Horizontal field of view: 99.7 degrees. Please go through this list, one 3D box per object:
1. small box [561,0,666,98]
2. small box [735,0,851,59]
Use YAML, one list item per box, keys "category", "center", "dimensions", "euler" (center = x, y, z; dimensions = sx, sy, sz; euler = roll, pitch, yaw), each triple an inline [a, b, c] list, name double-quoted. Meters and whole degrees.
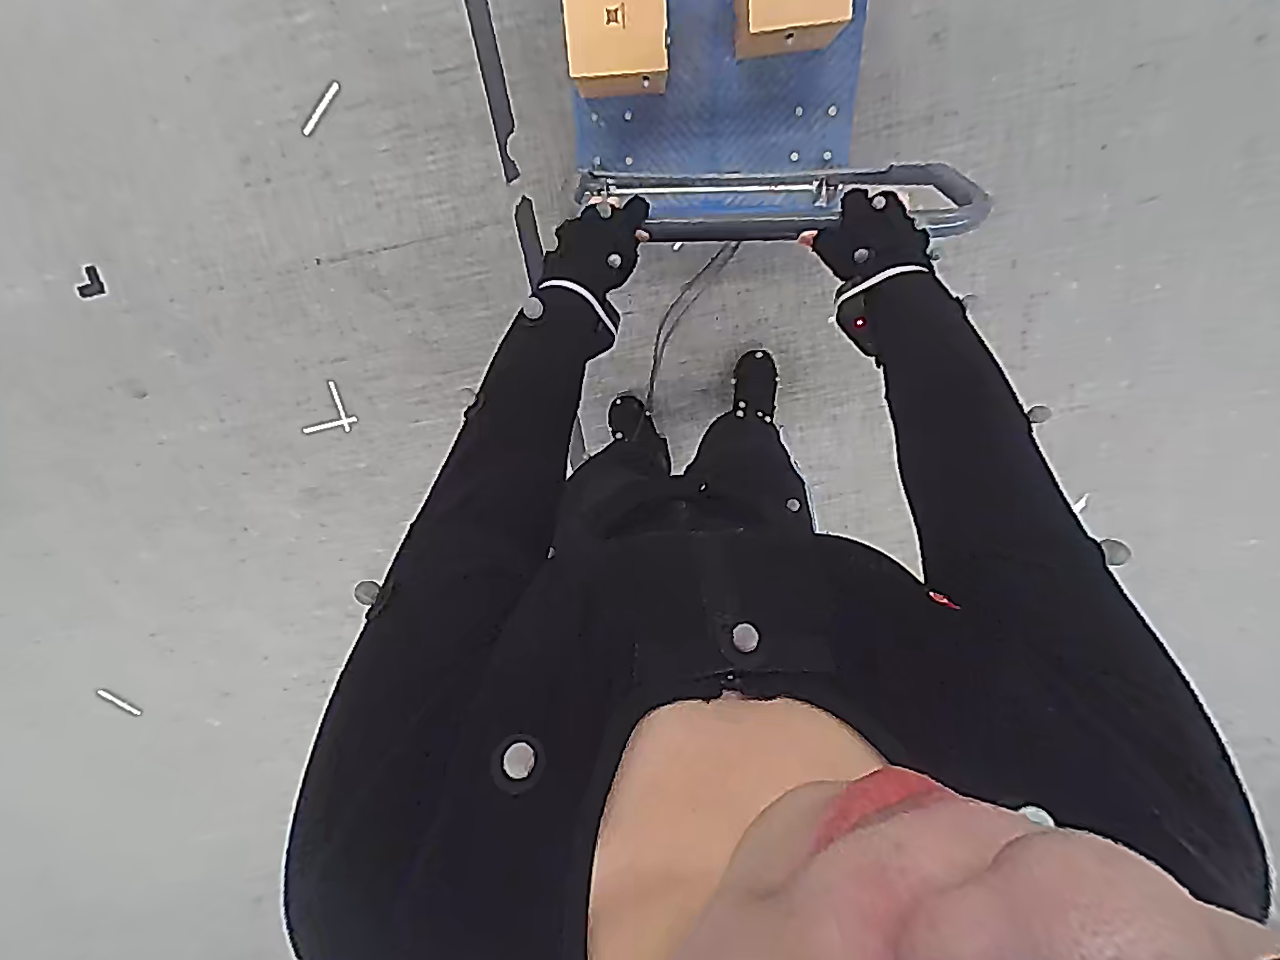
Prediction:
- category: "small box"
  center: [-0.043, -0.818, 0.989]
  dimensions: [0.179, 0.176, 0.168]
  euler: [-3, 115, 1]
- category: "small box"
  center: [0.264, -0.873, 0.957]
  dimensions: [0.179, 0.176, 0.168]
  euler: [-4, 115, 3]
